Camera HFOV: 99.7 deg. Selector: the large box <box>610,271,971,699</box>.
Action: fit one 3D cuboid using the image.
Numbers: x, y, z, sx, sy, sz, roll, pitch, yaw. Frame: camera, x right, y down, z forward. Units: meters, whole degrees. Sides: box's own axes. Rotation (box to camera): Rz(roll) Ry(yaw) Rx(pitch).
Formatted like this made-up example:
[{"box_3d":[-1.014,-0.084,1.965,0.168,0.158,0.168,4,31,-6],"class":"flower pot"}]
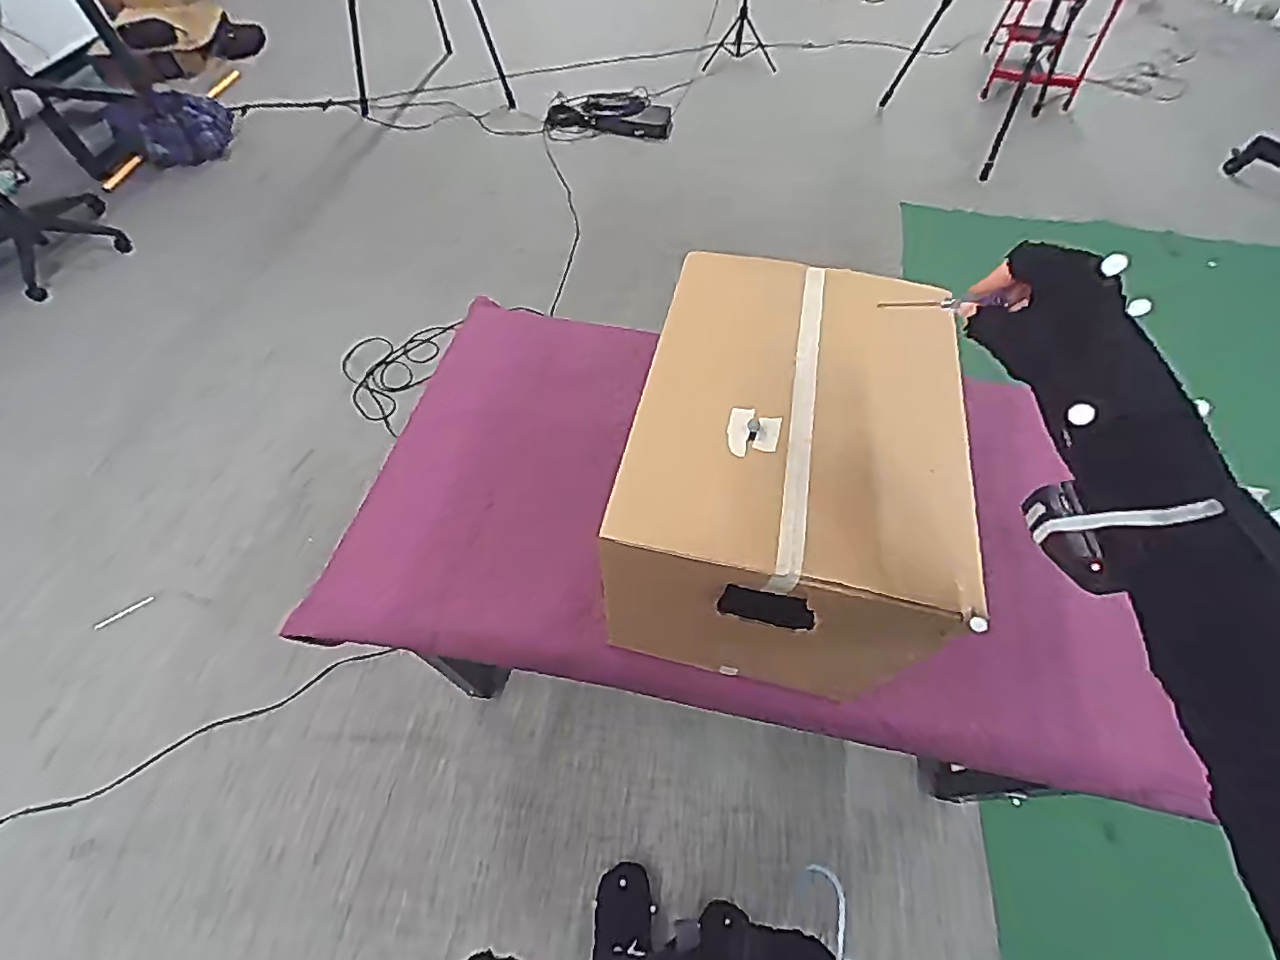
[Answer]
[{"box_3d":[0.160,0.010,0.683,0.320,0.320,0.408,12,58,7],"class":"large box"}]
